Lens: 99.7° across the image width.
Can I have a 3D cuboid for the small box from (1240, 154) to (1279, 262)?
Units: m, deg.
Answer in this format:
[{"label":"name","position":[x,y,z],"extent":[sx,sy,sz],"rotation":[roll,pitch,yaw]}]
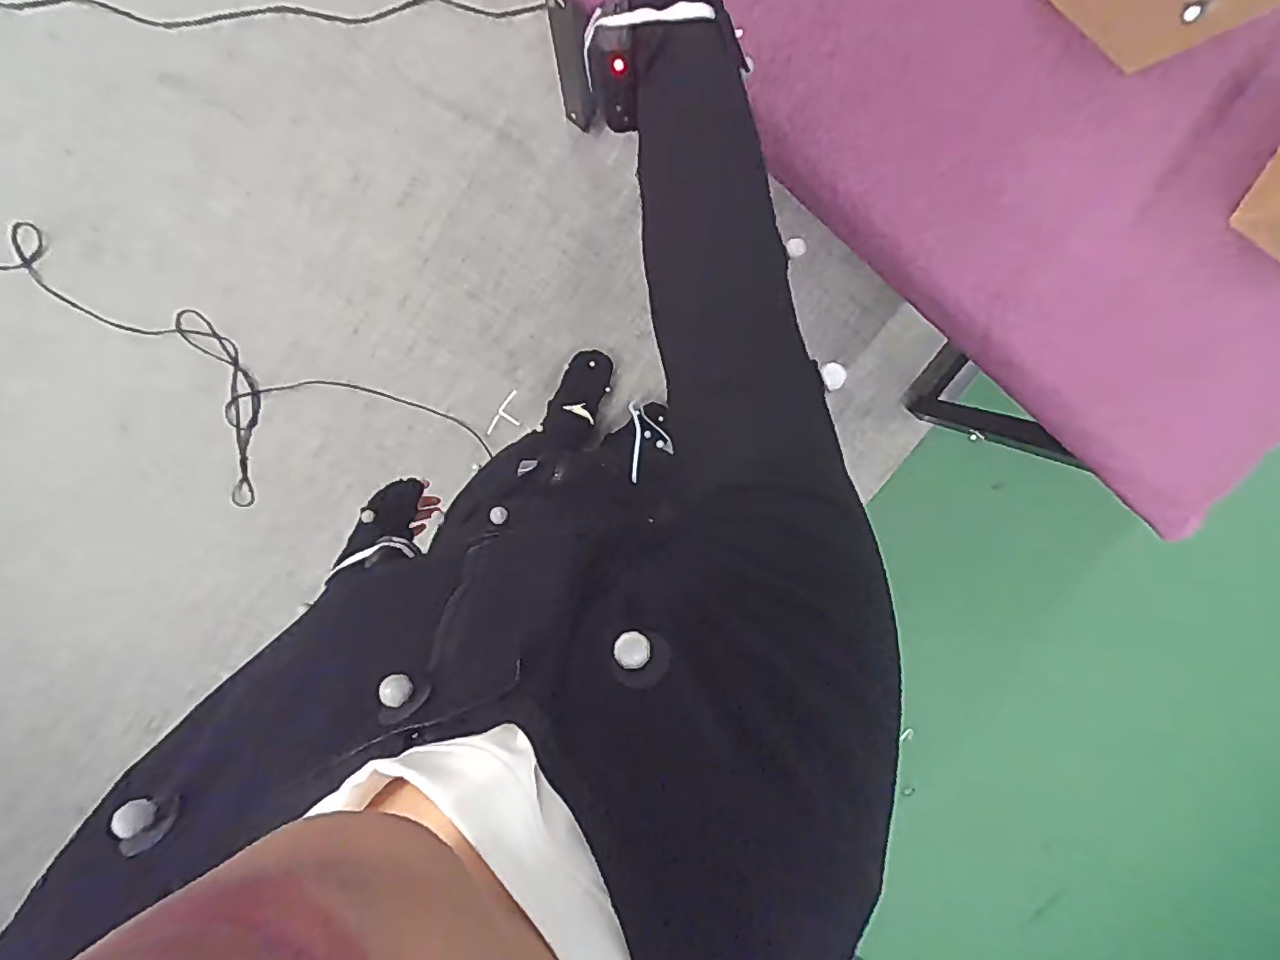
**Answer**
[{"label":"small box","position":[0.858,-0.338,0.607],"extent":[0.168,0.176,0.179],"rotation":[25,103,-11]}]
